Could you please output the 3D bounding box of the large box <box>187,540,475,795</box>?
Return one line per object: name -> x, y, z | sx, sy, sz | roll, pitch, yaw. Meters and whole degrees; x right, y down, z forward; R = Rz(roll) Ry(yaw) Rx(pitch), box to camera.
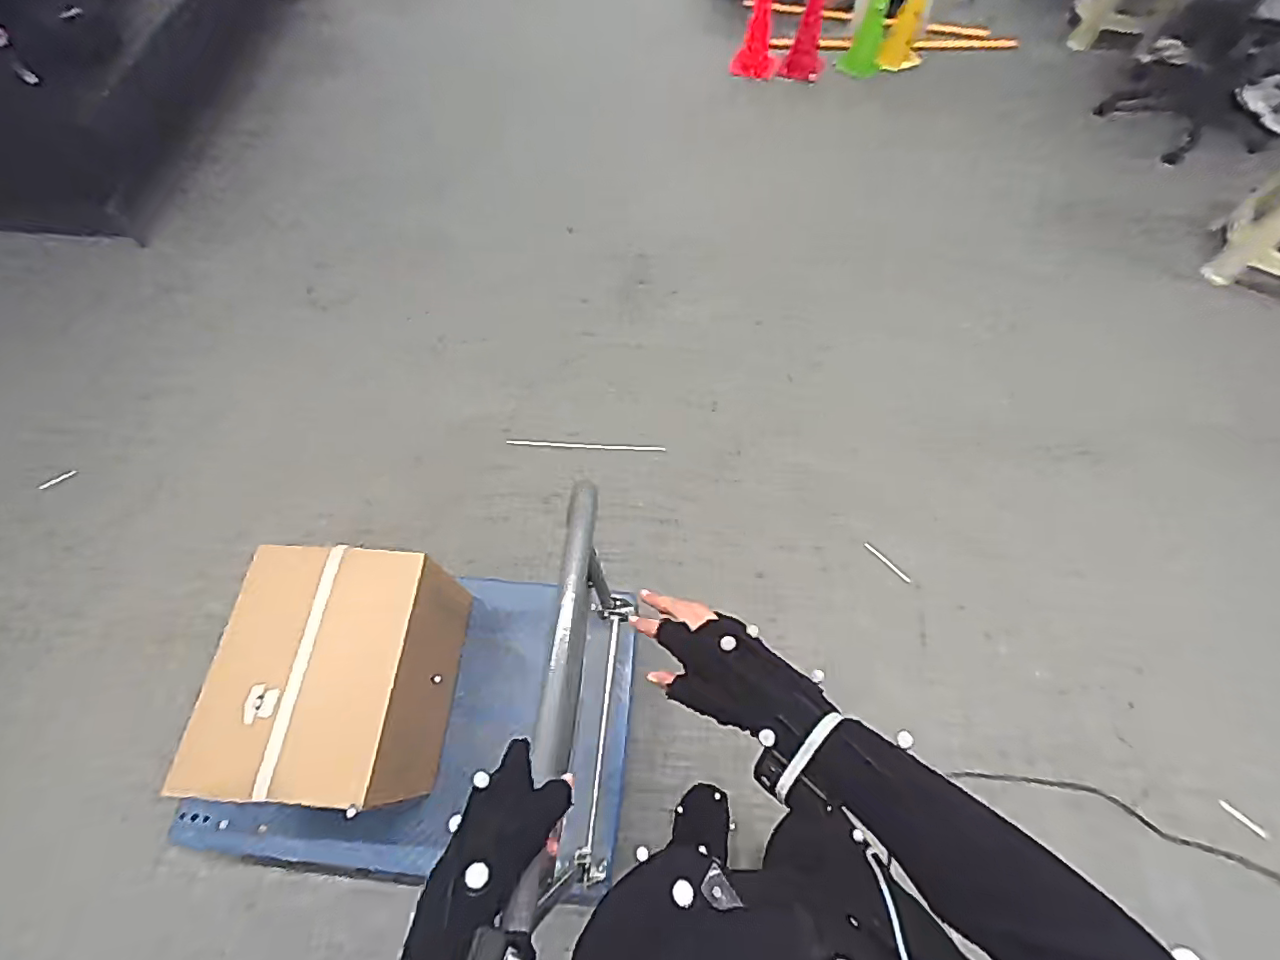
large box -> -0.538, 0.357, 1.045 | 0.320, 0.320, 0.408 | 3, 64, 2
